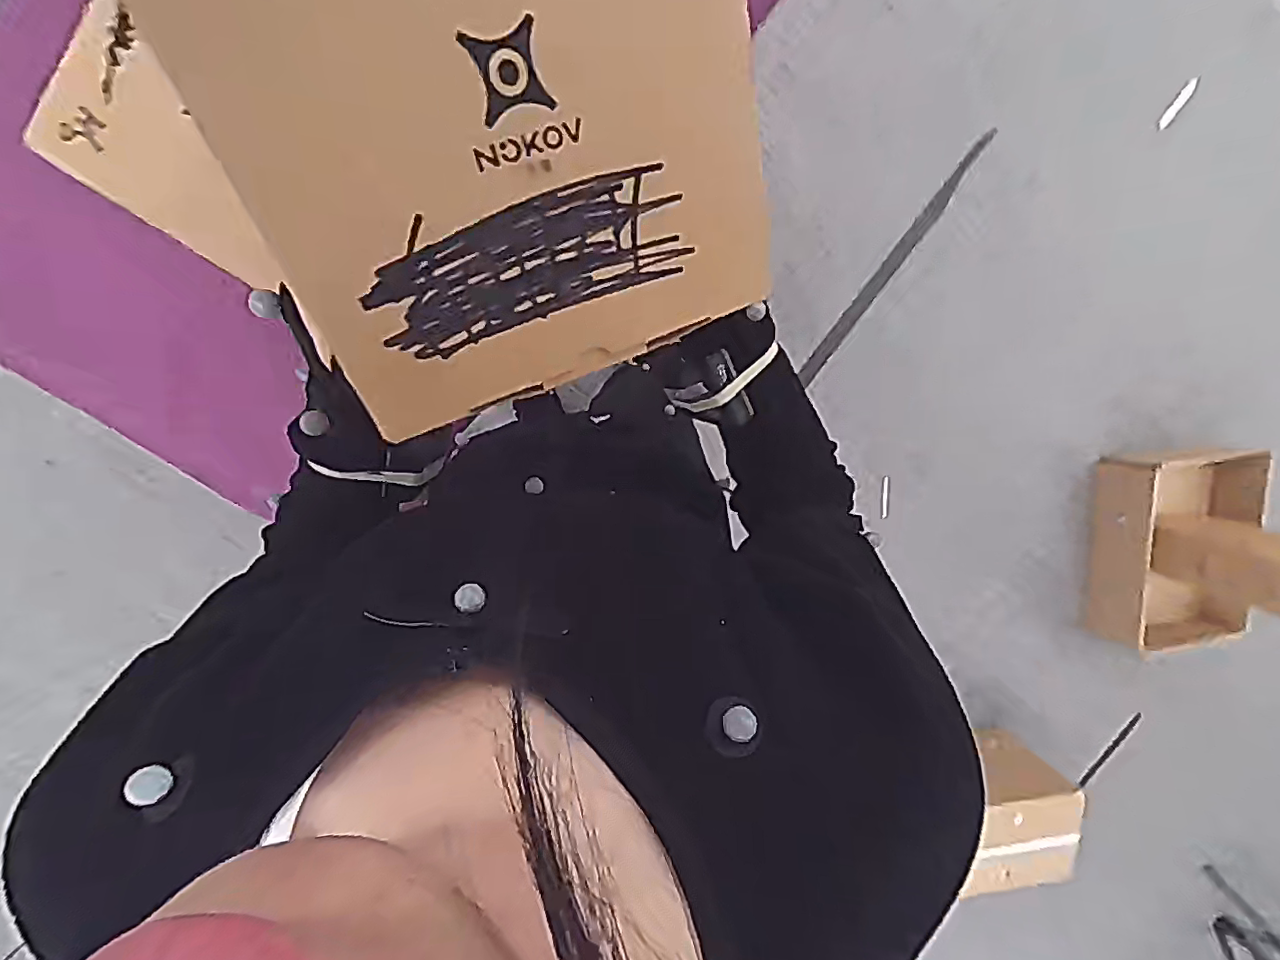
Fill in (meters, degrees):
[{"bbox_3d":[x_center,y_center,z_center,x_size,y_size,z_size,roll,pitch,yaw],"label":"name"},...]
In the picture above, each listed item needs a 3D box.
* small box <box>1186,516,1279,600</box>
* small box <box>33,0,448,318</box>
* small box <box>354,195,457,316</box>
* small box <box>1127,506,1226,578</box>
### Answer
[{"bbox_3d":[1.721,0.217,1.541,0.179,0.176,0.168,-13,105,-7],"label":"small box"},{"bbox_3d":[-0.278,-0.246,0.429,0.179,0.176,0.168,33,96,-14],"label":"small box"},{"bbox_3d":[-0.322,-0.294,0.581,0.179,0.176,0.168,34,95,-13],"label":"small box"},{"bbox_3d":[1.696,0.189,1.698,0.179,0.176,0.168,-9,103,-6],"label":"small box"}]
